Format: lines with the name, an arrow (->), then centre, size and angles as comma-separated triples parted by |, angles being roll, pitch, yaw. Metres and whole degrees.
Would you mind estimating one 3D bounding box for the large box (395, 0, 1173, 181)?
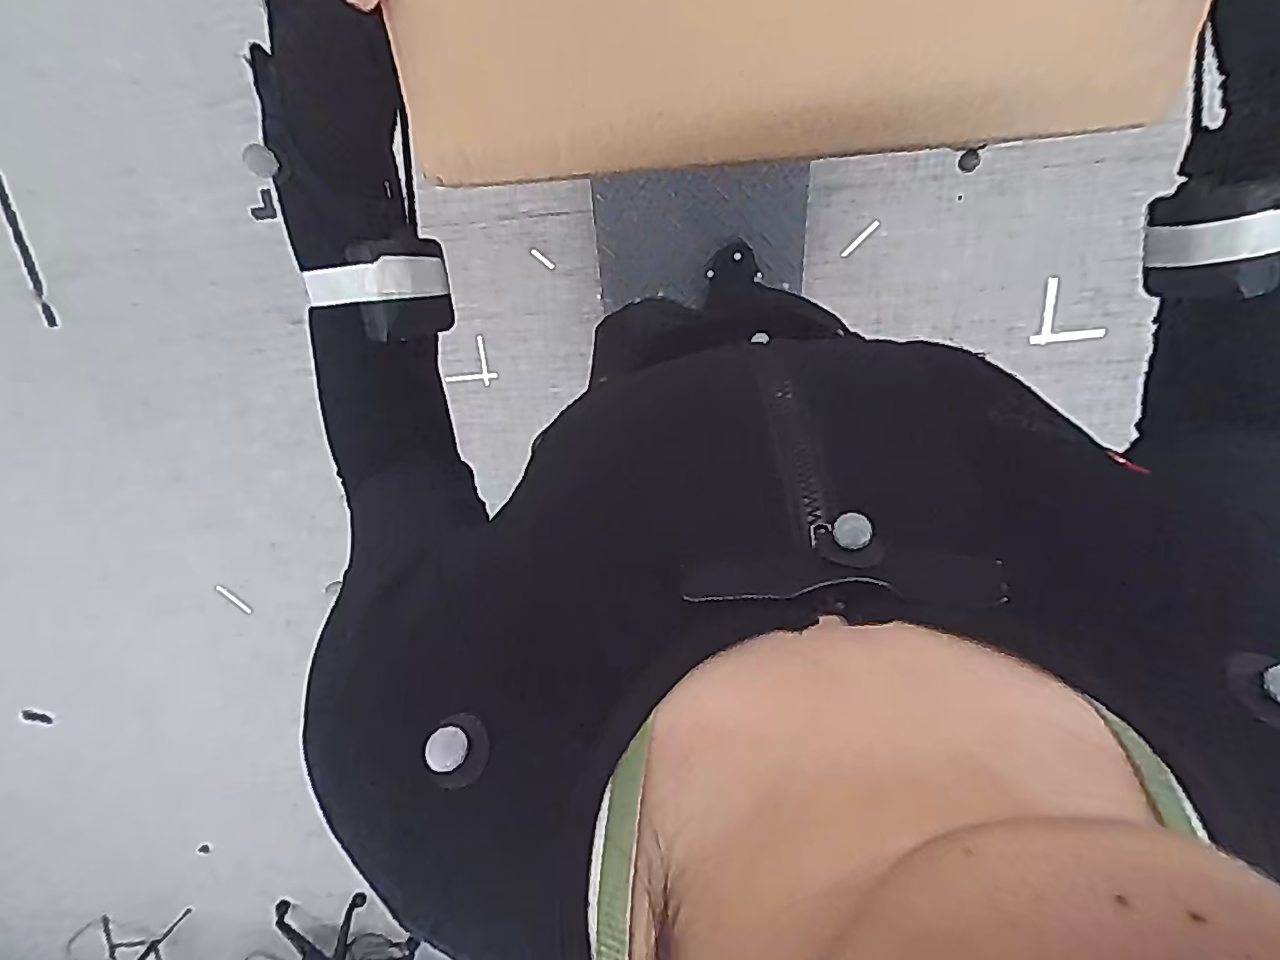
large box -> 0.069, -0.398, 0.357 | 0.408, 0.320, 0.320 | -3, 120, 3
